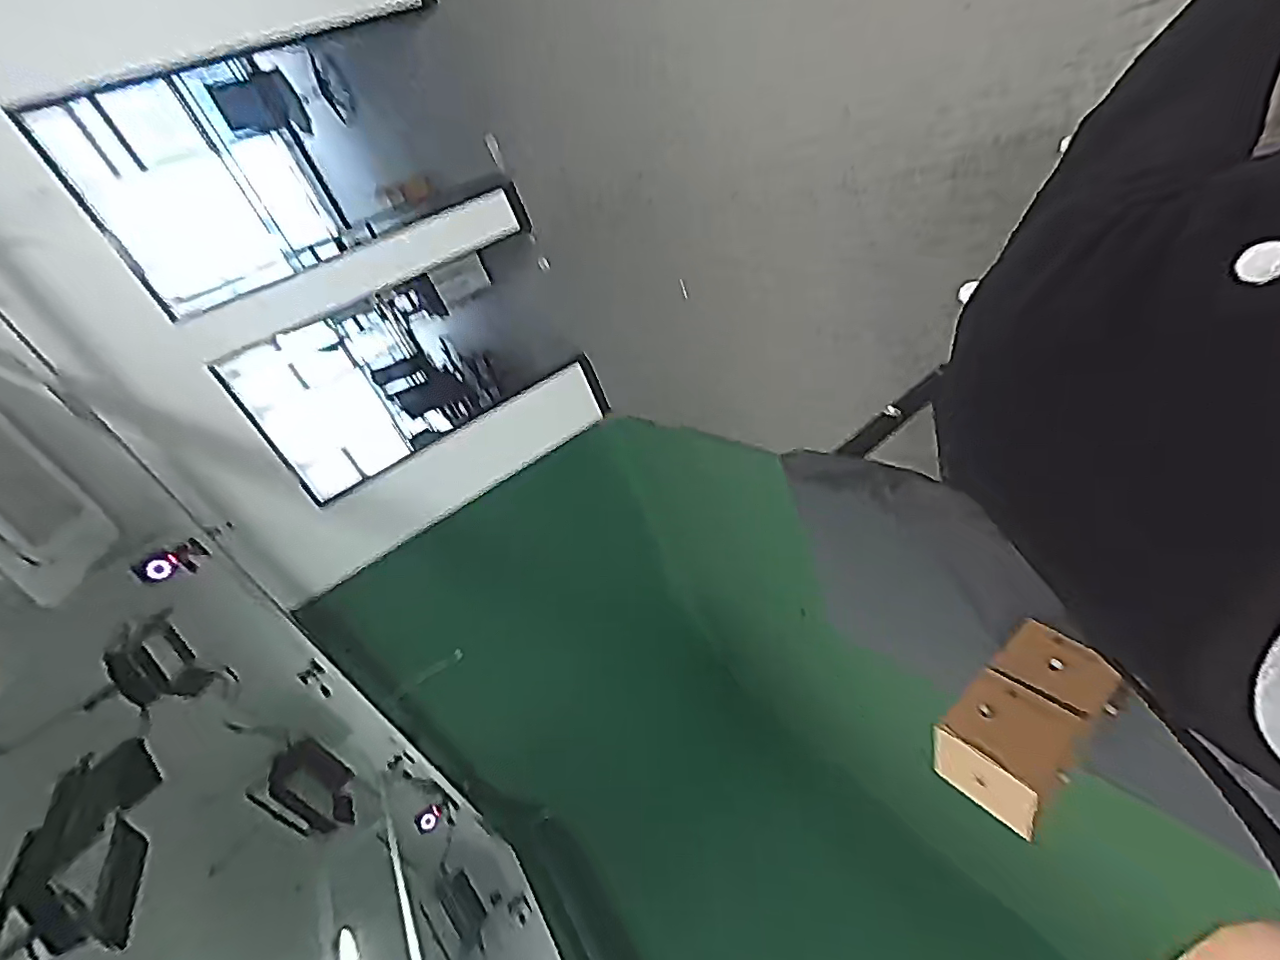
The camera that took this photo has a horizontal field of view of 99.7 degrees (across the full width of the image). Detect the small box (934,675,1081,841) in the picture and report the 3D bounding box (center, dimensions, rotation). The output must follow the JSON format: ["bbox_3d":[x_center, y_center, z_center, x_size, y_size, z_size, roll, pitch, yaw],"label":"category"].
[{"bbox_3d":[0.666,0.497,0.988,0.168,0.176,0.179,30,148,51],"label":"small box"}]

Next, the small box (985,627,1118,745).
[{"bbox_3d":[0.794,0.426,1.065,0.168,0.176,0.179,34,150,46],"label":"small box"}]
